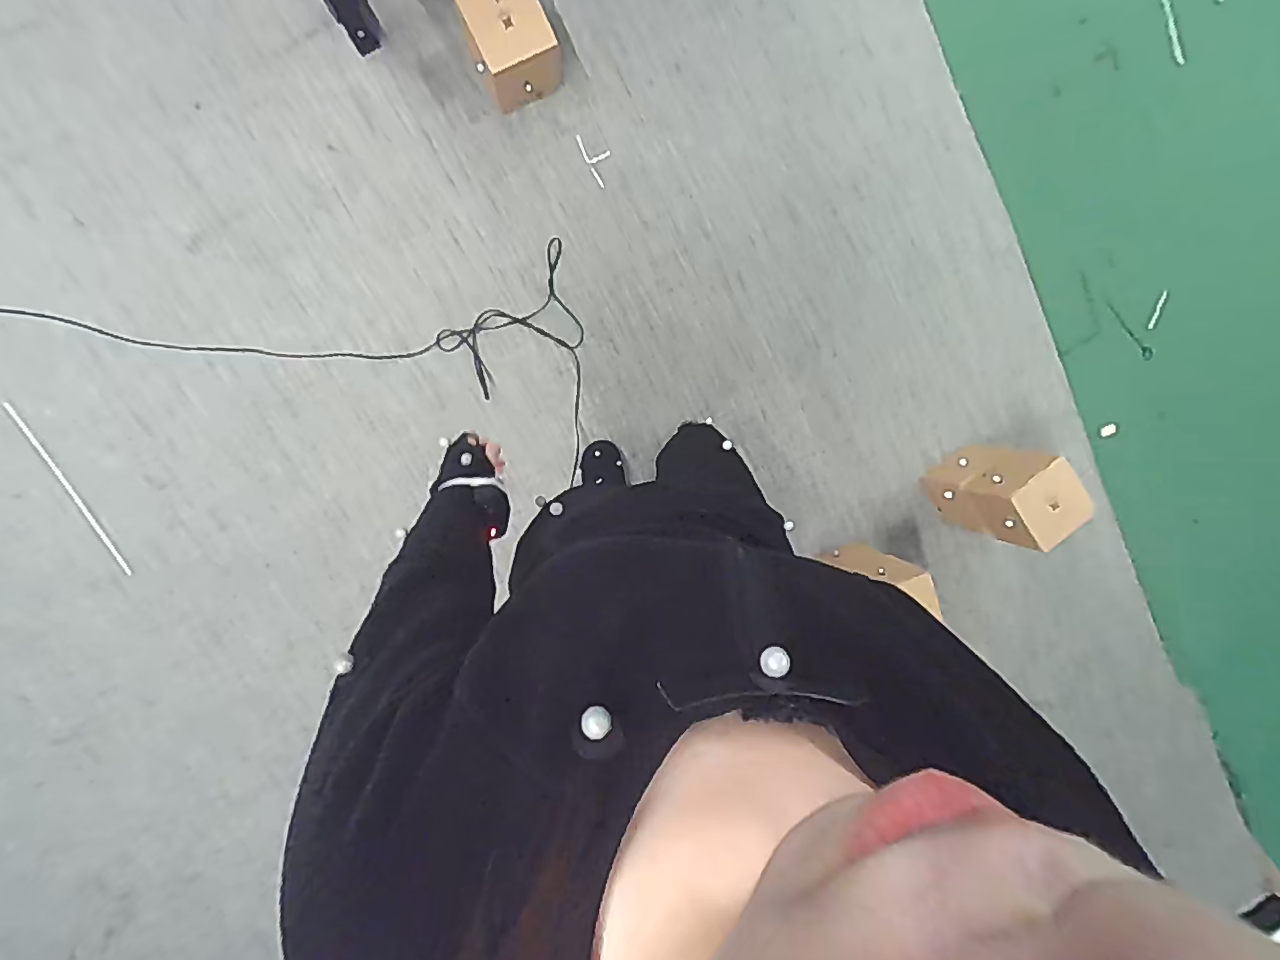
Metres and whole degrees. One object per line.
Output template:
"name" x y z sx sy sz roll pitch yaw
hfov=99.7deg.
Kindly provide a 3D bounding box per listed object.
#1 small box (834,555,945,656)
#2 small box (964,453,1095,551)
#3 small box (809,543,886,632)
"small box" 0.603 0.302 1.335 0.179 0.176 0.168 -20 98 -5
"small box" 0.958 0.045 1.347 0.168 0.176 0.179 -37 100 0
"small box" 0.588 0.291 1.499 0.179 0.176 0.168 -20 99 -3
